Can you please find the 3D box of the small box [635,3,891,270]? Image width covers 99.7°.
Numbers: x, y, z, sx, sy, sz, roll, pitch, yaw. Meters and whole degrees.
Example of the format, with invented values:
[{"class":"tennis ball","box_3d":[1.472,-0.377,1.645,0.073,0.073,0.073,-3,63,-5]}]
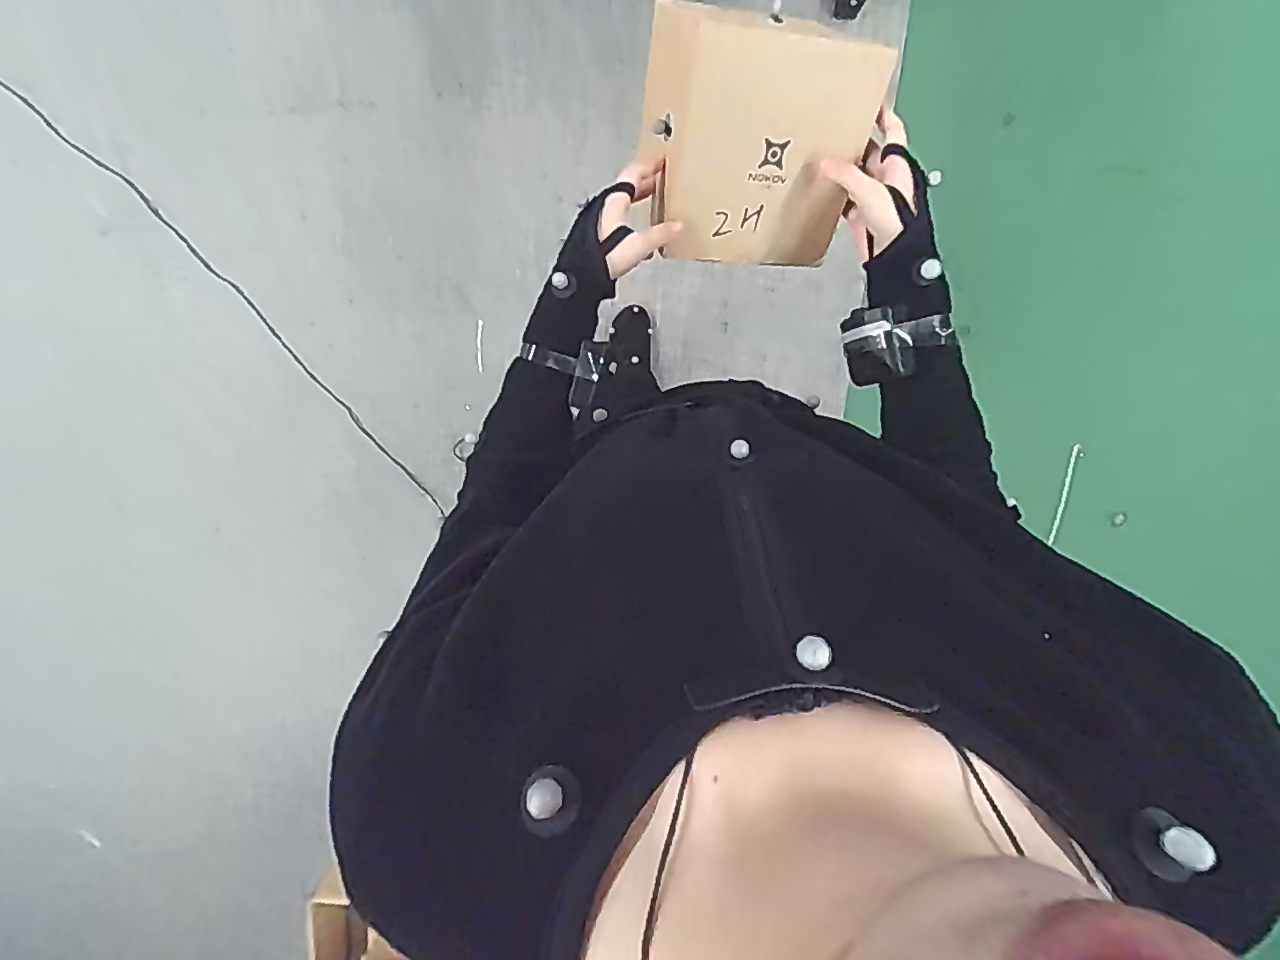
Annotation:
[{"class":"small box","box_3d":[0.093,-0.325,0.514,0.168,0.176,0.179,-1,135,-11]}]
